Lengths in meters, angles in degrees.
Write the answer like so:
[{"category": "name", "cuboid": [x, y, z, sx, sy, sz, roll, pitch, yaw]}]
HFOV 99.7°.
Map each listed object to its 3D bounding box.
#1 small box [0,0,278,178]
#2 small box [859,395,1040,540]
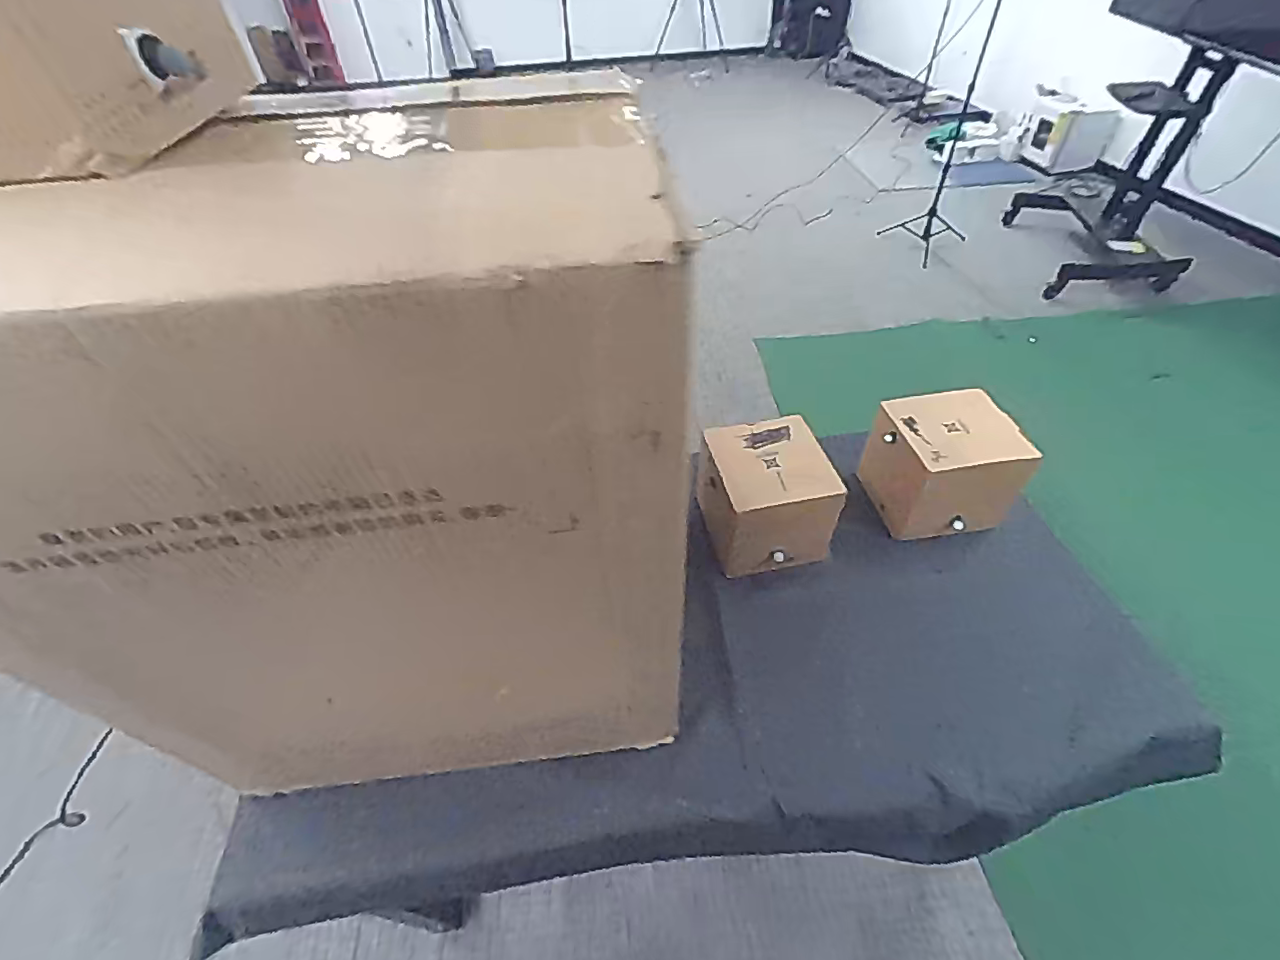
[{"category": "small box", "cuboid": [-0.347, -0.279, 0.285, 0.179, 0.176, 0.168, 0, 52, 0]}, {"category": "small box", "cuboid": [0.495, -0.019, 0.897, 0.179, 0.176, 0.168, -6, 46, -3]}]
